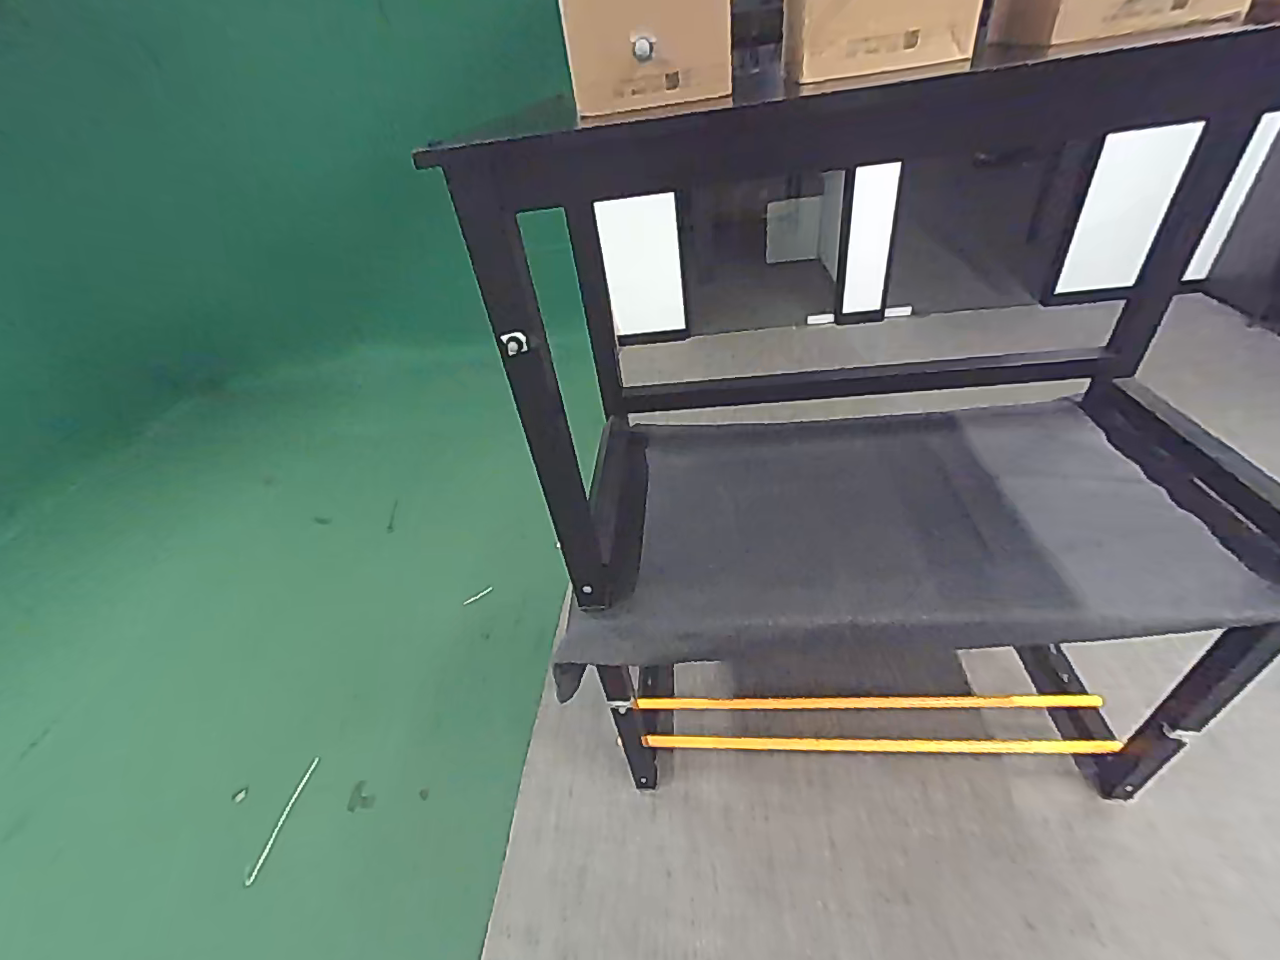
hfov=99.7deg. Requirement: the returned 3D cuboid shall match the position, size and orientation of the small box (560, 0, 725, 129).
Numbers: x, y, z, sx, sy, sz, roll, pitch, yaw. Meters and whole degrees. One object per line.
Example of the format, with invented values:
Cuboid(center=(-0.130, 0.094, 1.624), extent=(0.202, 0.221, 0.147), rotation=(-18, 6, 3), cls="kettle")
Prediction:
Cuboid(center=(0.007, -0.506, 0.606), extent=(0.168, 0.176, 0.179), rotation=(-4, 39, 7), cls="small box")
